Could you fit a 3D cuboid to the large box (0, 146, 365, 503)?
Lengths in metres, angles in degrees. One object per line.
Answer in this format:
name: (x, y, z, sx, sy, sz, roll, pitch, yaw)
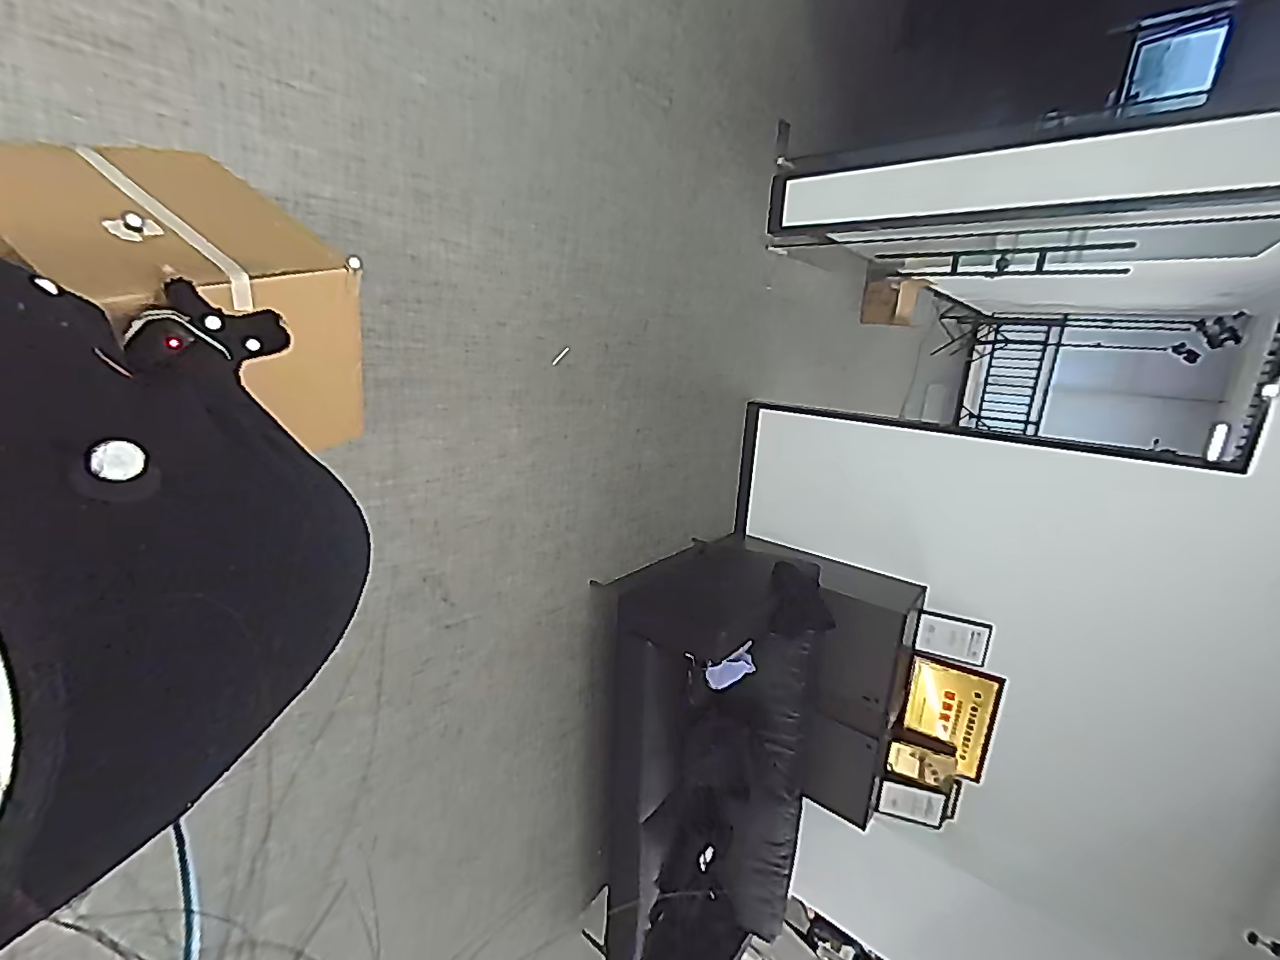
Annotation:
large box: (-0.675, -0.240, 0.802, 0.320, 0.408, 0.320, -36, 157, -47)
